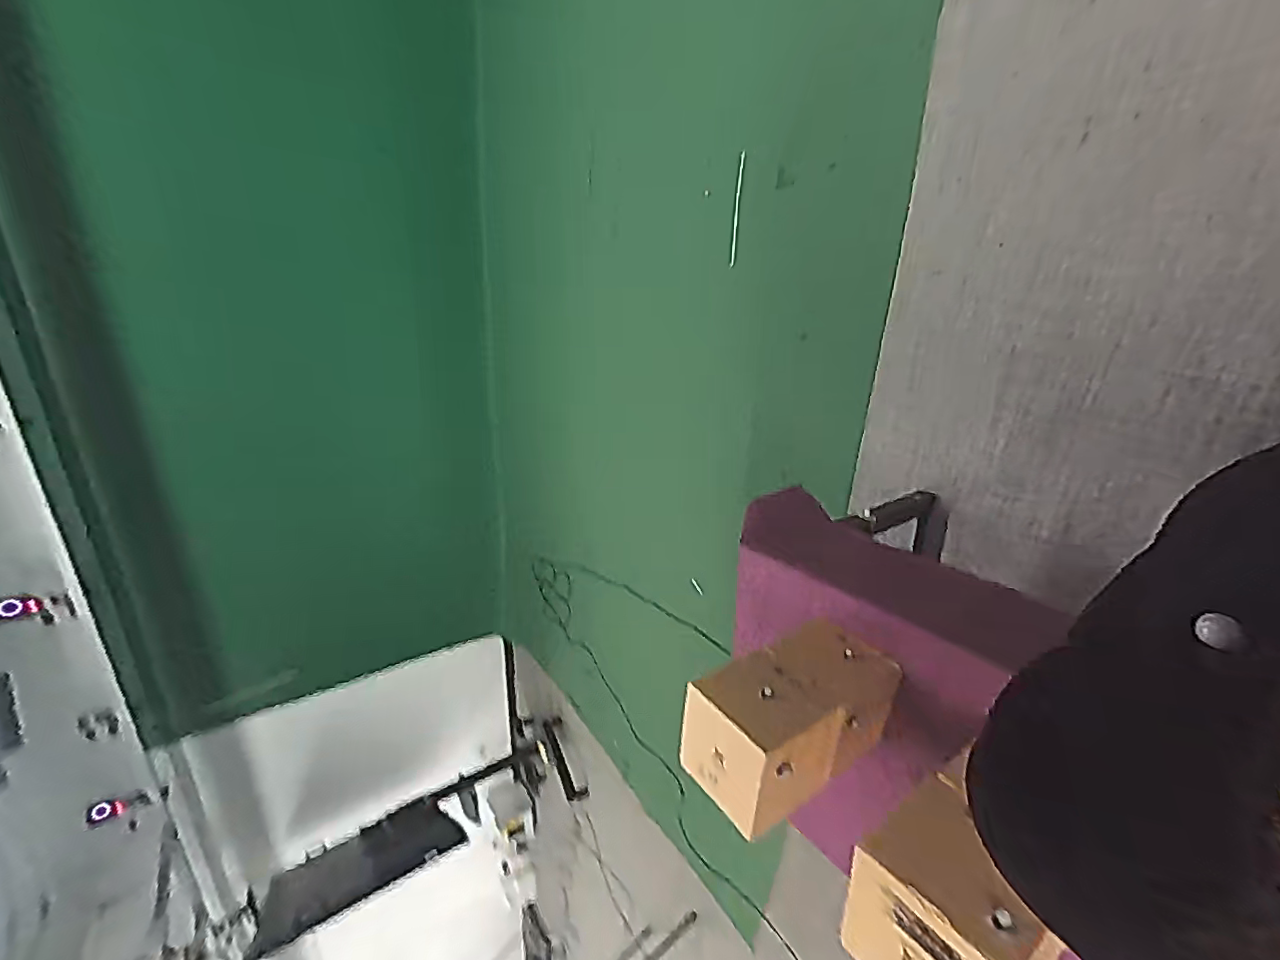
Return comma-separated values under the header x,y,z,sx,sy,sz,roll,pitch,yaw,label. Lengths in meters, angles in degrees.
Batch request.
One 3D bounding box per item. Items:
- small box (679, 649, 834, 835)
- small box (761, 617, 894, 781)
x,y,z,sx,sy,sz,roll,pitch,yaw,label
0.185,0.403,0.867,0.168,0.176,0.179,30,123,49,small box
0.320,0.376,0.958,0.168,0.176,0.179,31,123,47,small box
